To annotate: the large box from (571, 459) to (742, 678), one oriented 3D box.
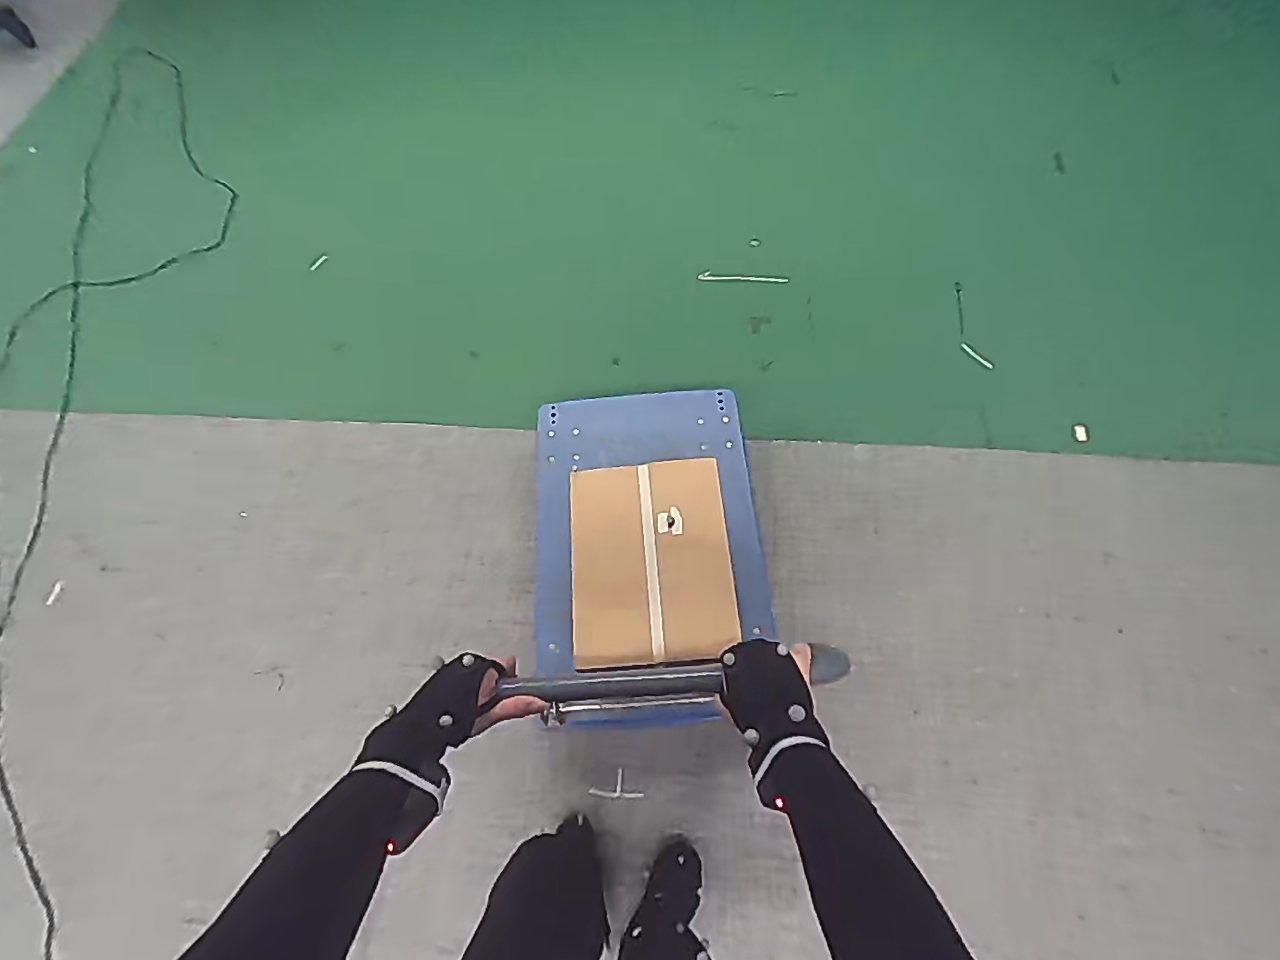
[{"bbox_3d":[0.032,0.211,1.215,0.320,0.320,0.408,-5,66,2],"label":"large box"}]
